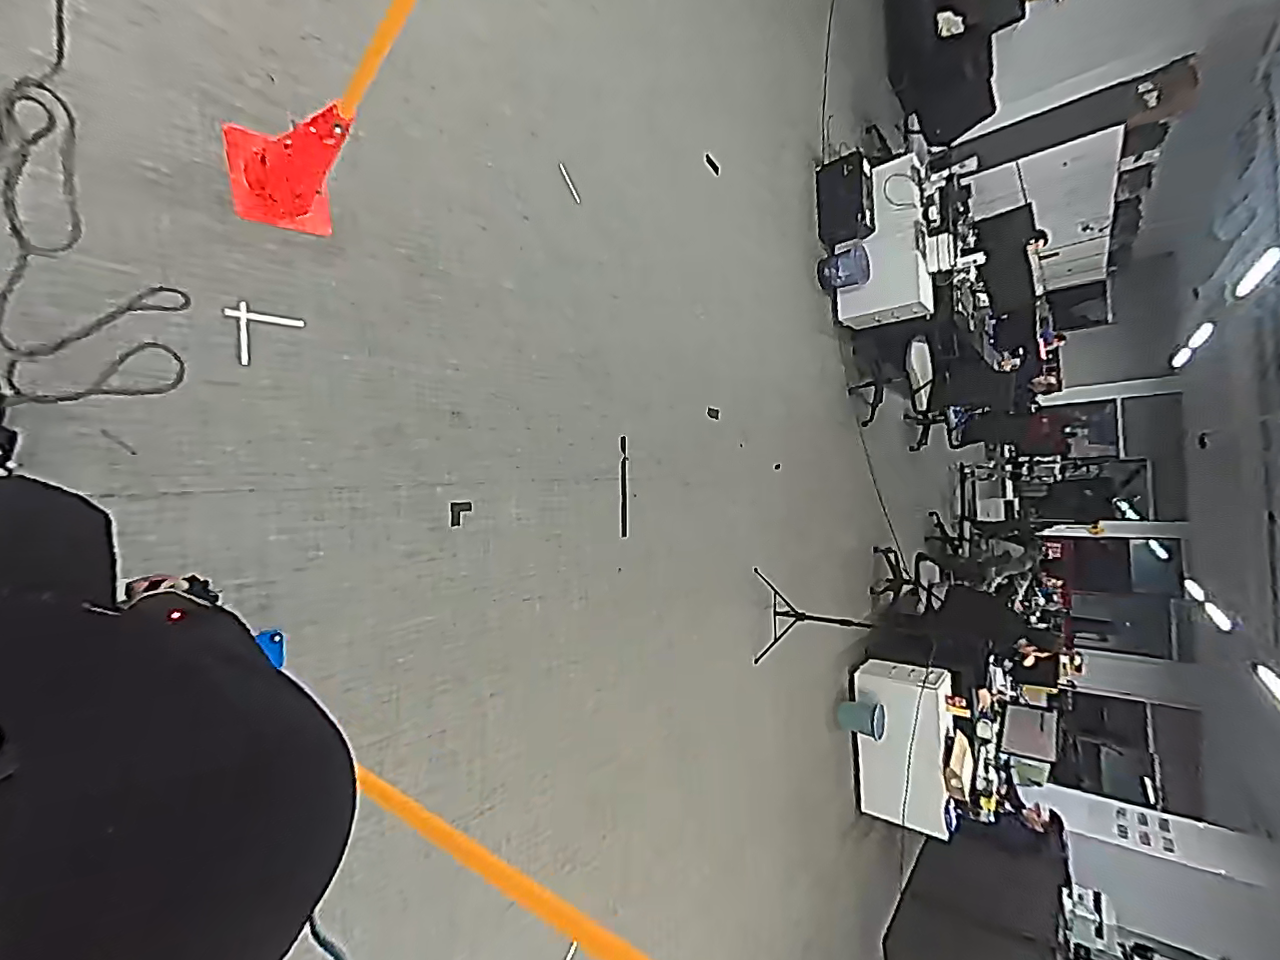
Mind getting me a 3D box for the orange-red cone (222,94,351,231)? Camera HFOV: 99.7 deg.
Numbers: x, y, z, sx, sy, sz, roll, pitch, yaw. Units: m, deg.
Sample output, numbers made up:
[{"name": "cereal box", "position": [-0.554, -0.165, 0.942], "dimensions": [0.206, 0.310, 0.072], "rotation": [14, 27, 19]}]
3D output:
[{"name": "orange-red cone", "position": [-0.694, -0.691, 1.121], "dimensions": [0.199, 0.360, 0.198], "rotation": [-8, 94, -49]}]
